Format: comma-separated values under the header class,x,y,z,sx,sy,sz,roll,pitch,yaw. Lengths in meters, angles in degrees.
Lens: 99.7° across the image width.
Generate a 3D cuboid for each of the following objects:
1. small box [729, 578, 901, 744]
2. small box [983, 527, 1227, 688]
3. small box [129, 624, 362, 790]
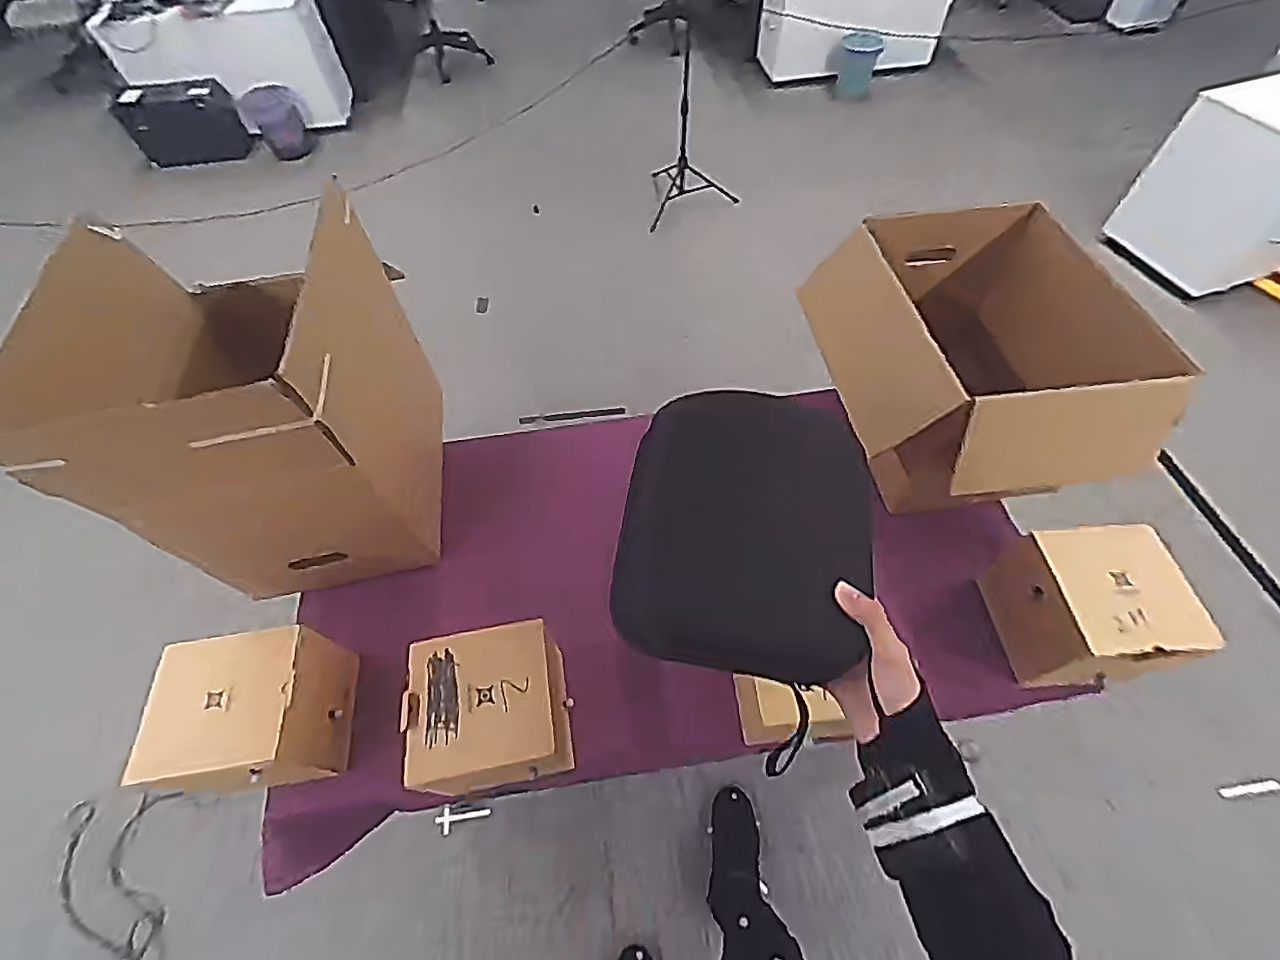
class,x,y,z,sx,sy,sz,roll,pitch,yaw
small box,0.222,0.252,0.744,0.168,0.176,0.179,-5,58,0
small box,0.631,0.184,0.768,0.168,0.176,0.179,-3,57,2
small box,-0.512,0.313,0.736,0.179,0.176,0.168,-8,57,-4
